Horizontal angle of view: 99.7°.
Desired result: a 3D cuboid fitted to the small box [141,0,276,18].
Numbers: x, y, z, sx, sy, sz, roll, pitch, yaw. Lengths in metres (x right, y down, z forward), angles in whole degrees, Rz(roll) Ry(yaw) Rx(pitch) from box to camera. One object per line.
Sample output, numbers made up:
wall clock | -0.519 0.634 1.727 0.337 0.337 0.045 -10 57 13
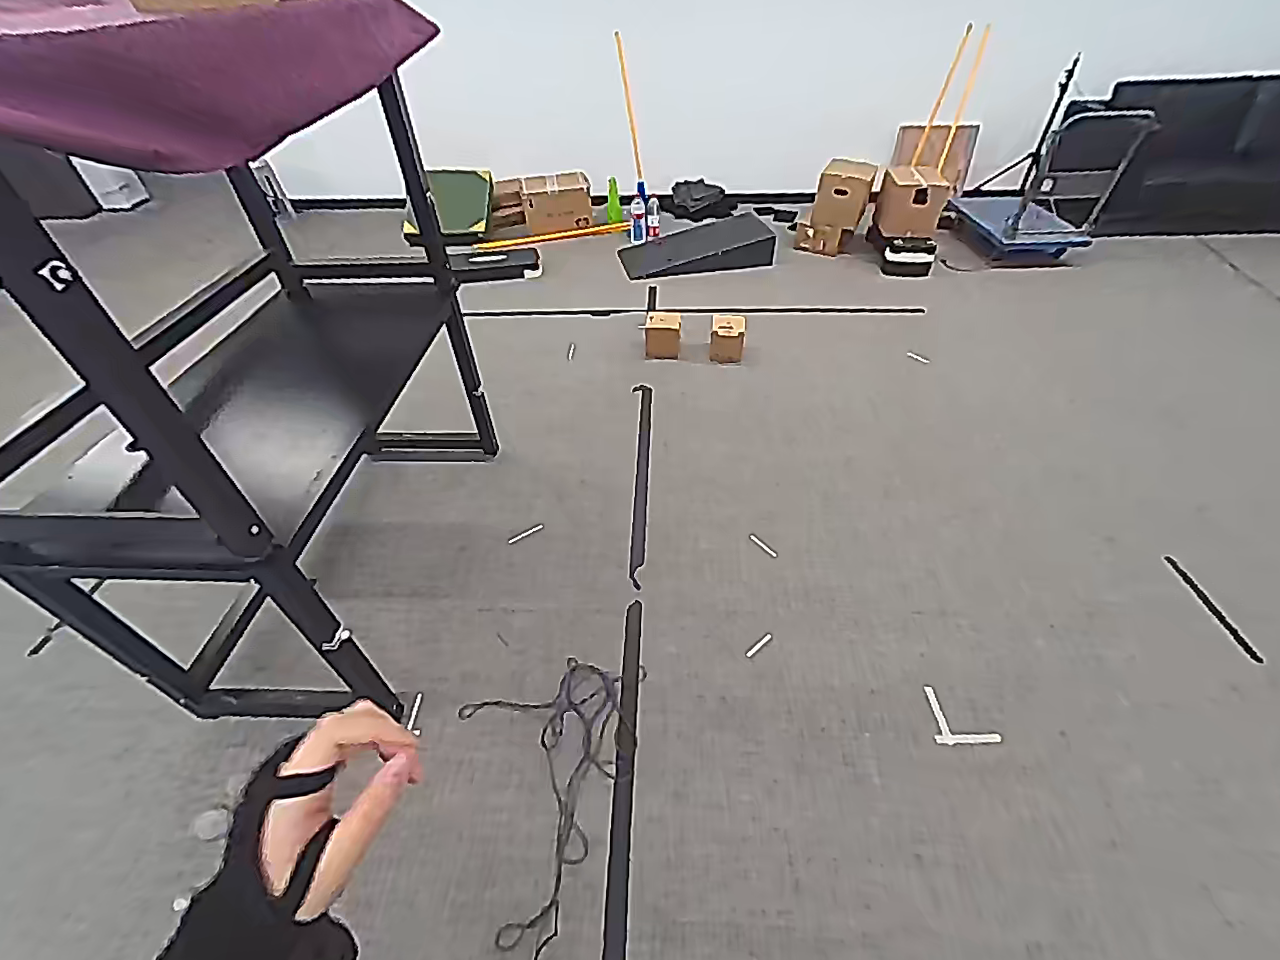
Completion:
small box | -0.774 -0.913 0.930 0.168 0.176 0.179 3 44 6

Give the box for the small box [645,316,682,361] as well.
small box | 0.125 -0.741 2.839 0.179 0.176 0.168 5 44 5

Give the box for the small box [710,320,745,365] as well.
small box | 0.454 -0.714 2.808 0.168 0.176 0.179 5 43 6
